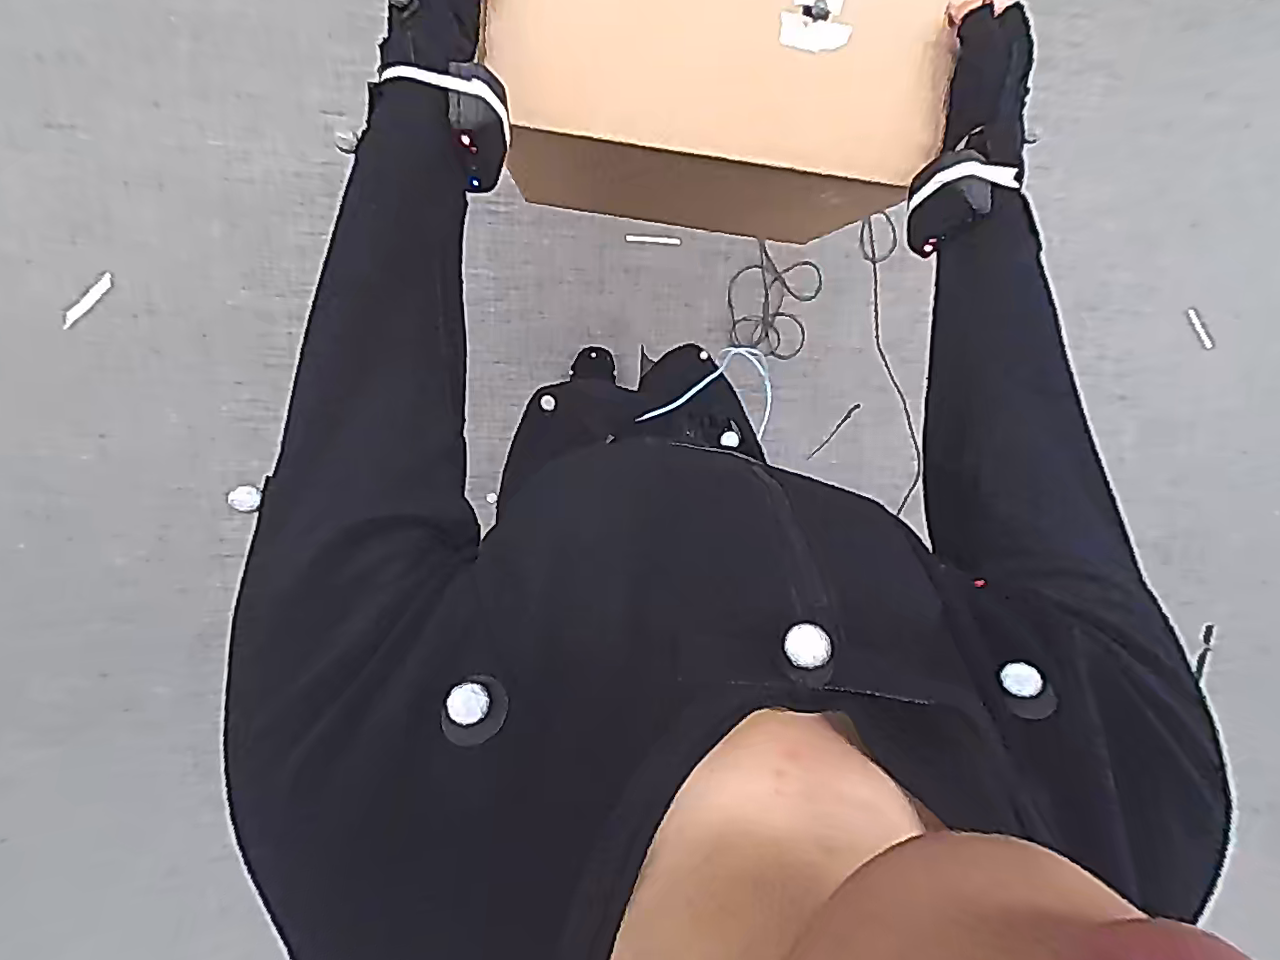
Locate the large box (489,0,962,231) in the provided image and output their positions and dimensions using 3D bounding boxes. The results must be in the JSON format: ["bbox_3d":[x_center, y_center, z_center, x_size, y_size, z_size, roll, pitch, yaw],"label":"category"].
[{"bbox_3d":[0.068,-0.483,0.581,0.408,0.320,0.320,5,106,-7],"label":"large box"}]
